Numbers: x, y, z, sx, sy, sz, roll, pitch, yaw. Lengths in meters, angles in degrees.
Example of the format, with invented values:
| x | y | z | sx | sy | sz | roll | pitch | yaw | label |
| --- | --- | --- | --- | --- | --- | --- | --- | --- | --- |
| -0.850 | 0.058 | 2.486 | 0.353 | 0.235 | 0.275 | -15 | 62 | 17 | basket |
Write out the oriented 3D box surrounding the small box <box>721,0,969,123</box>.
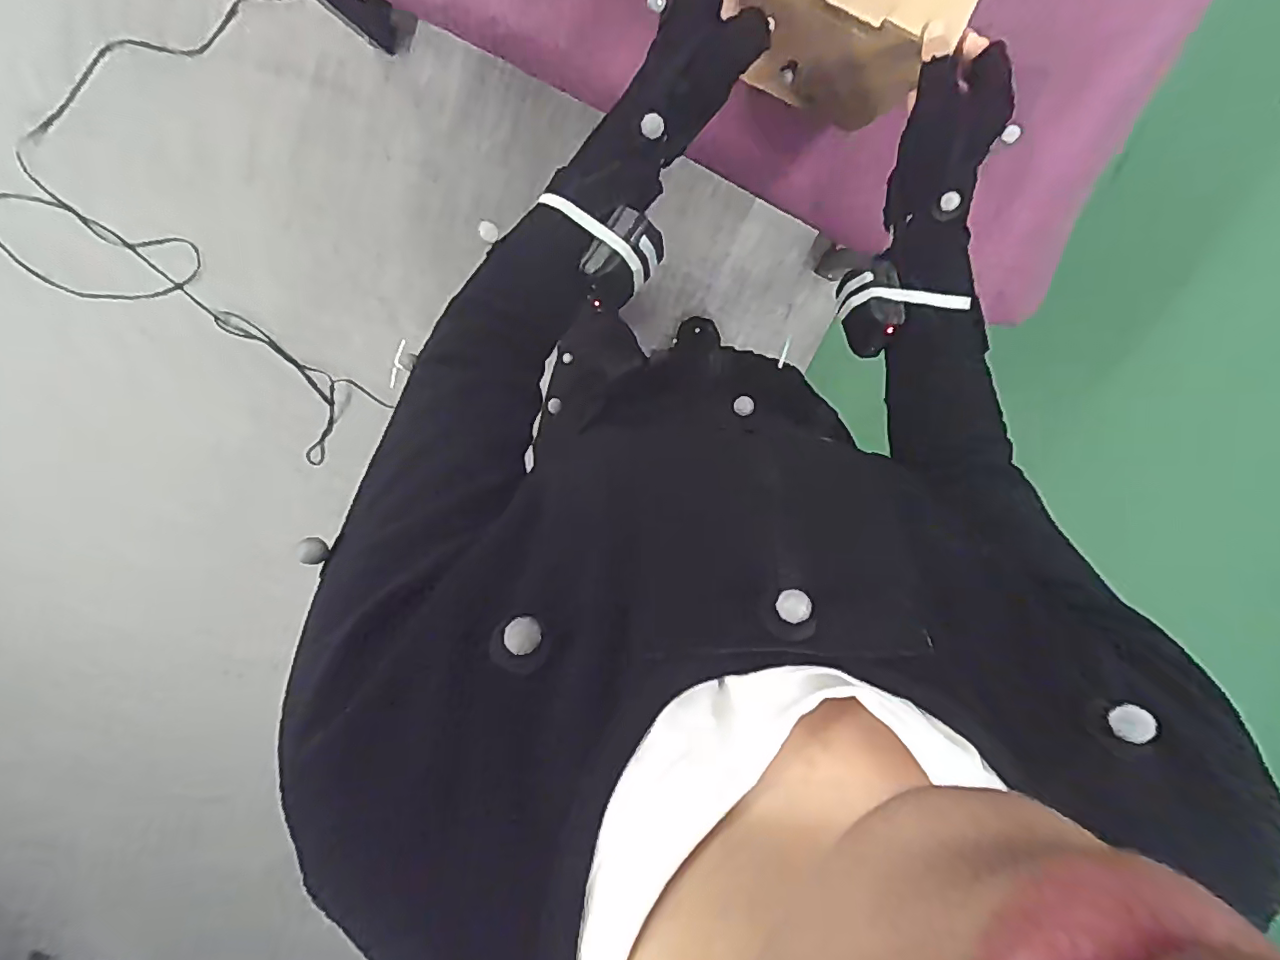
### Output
| x | y | z | sx | sy | sz | roll | pitch | yaw | label |
| --- | --- | --- | --- | --- | --- | --- | --- | --- | --- |
| 0.182 | -0.447 | 0.452 | 0.168 | 0.176 | 0.179 | 21 | 104 | -8 | small box |
